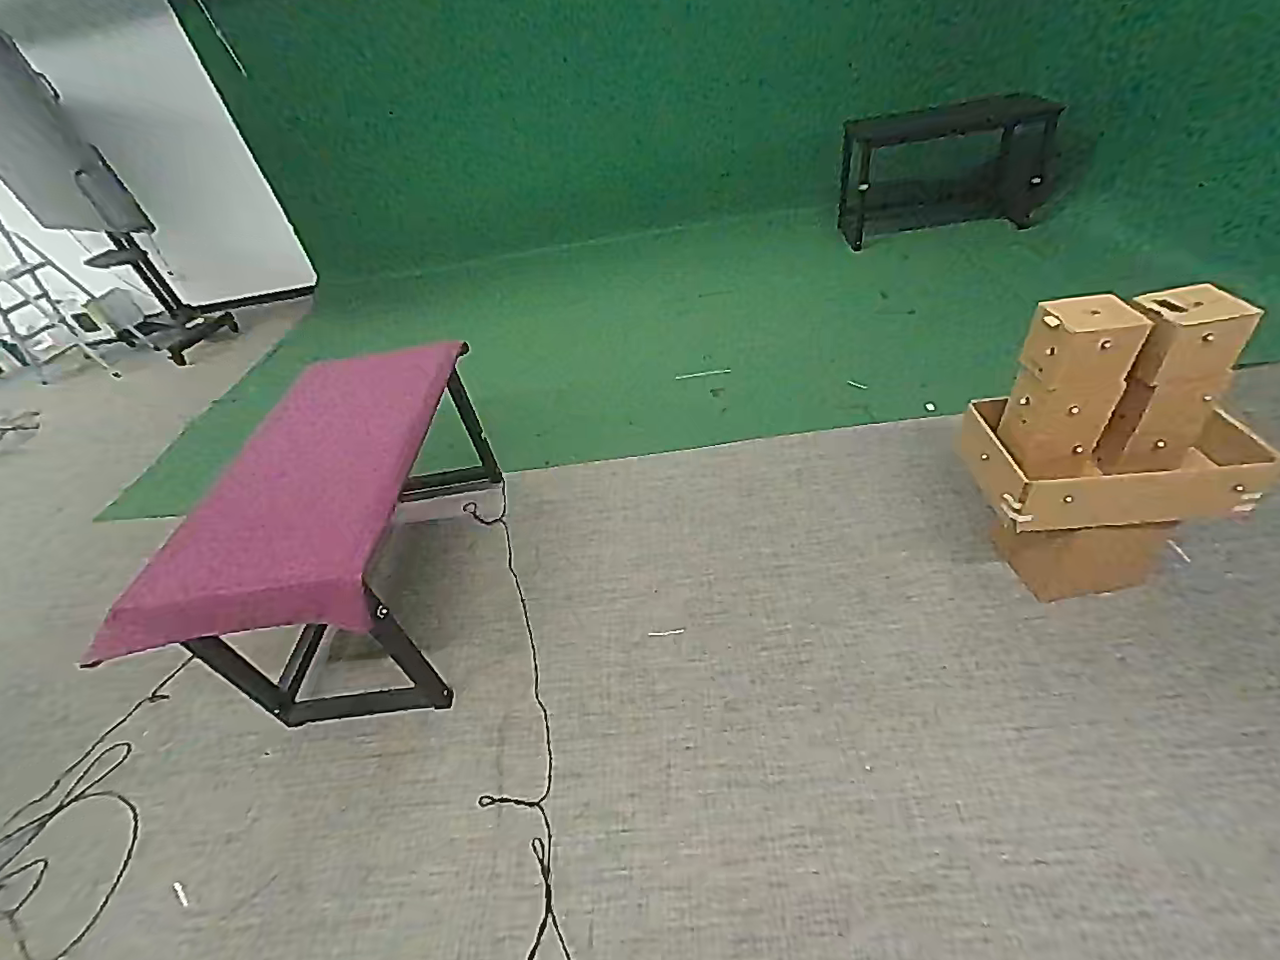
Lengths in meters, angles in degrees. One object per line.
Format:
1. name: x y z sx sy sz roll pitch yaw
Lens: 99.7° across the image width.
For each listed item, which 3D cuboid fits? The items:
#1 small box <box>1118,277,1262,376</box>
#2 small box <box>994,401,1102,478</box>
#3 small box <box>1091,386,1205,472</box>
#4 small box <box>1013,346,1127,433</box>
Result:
1. small box: 1.344 -0.378 1.344 0.179 0.176 0.168 -10 41 7
2. small box: 1.187 -0.124 1.590 0.179 0.176 0.168 -5 41 8
3. small box: 1.437 -0.145 1.558 0.179 0.176 0.168 -9 42 9
4. small box: 1.160 -0.244 1.482 0.179 0.176 0.168 -6 42 8
